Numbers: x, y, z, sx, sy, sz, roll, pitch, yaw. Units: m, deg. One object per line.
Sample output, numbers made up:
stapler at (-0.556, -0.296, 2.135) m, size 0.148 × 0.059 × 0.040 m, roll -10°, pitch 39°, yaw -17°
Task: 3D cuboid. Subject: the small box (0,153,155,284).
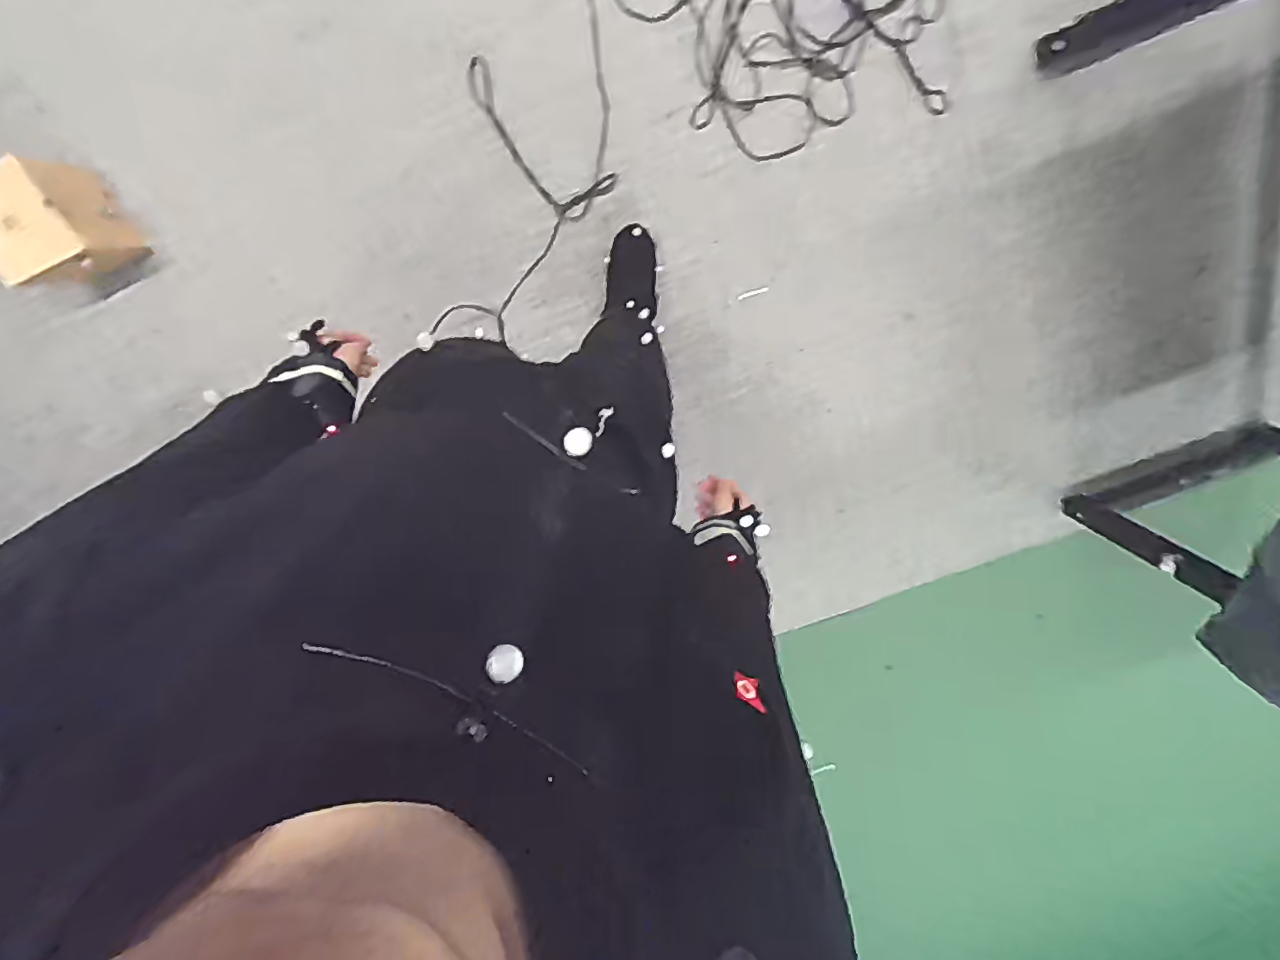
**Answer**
small box at (-1.109, -0.491, 1.035) m, size 0.179 × 0.176 × 0.168 m, roll -23°, pitch 113°, yaw 6°
